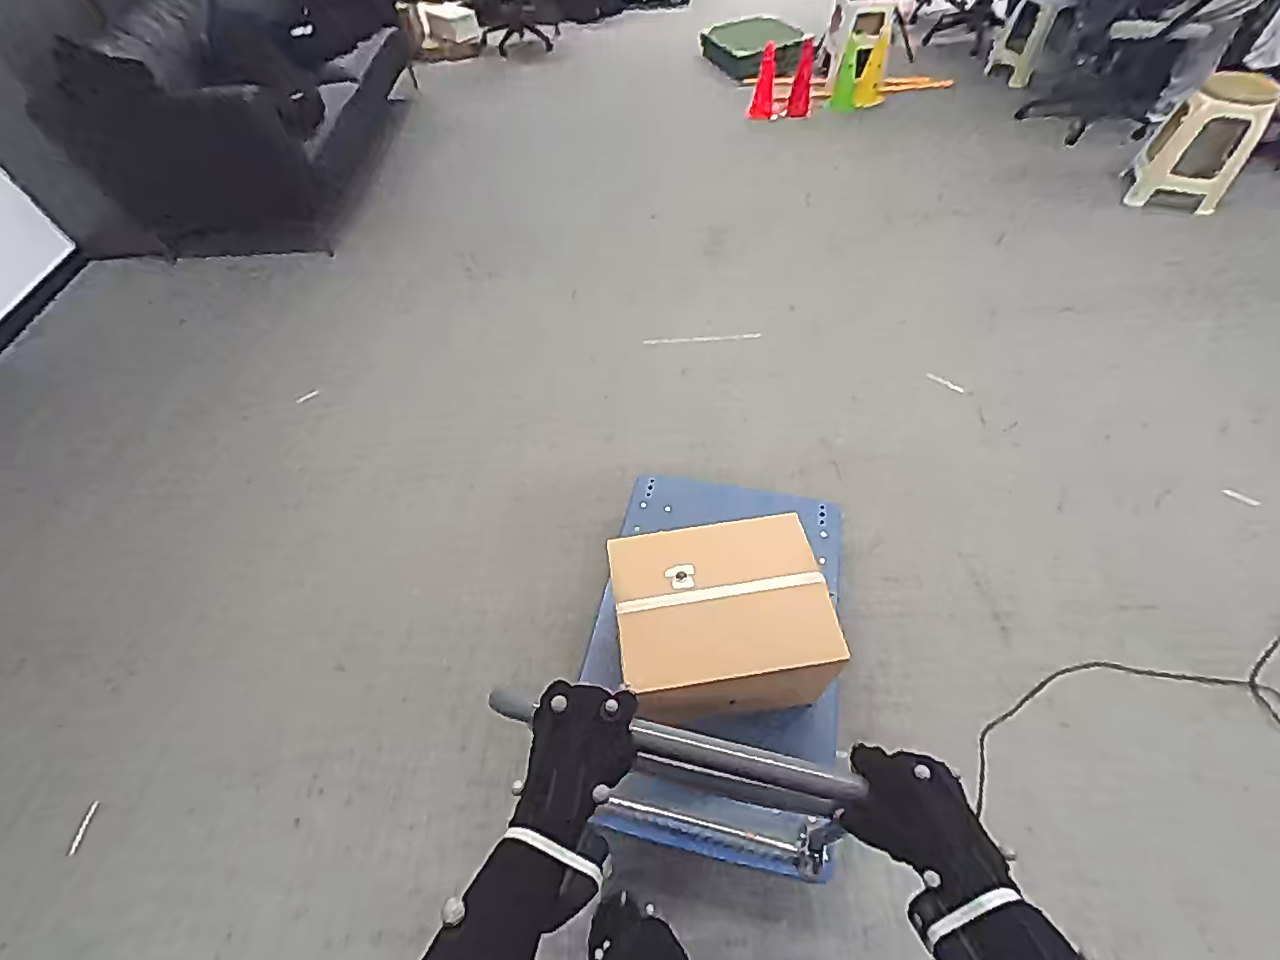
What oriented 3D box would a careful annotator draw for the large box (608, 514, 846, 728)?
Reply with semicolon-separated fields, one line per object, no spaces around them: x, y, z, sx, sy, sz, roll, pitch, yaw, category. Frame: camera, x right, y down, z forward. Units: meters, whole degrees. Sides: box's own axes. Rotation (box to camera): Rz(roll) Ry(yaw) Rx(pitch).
0.162;0.310;1.159;0.408;0.320;0.320;-9;53;-2;large box
